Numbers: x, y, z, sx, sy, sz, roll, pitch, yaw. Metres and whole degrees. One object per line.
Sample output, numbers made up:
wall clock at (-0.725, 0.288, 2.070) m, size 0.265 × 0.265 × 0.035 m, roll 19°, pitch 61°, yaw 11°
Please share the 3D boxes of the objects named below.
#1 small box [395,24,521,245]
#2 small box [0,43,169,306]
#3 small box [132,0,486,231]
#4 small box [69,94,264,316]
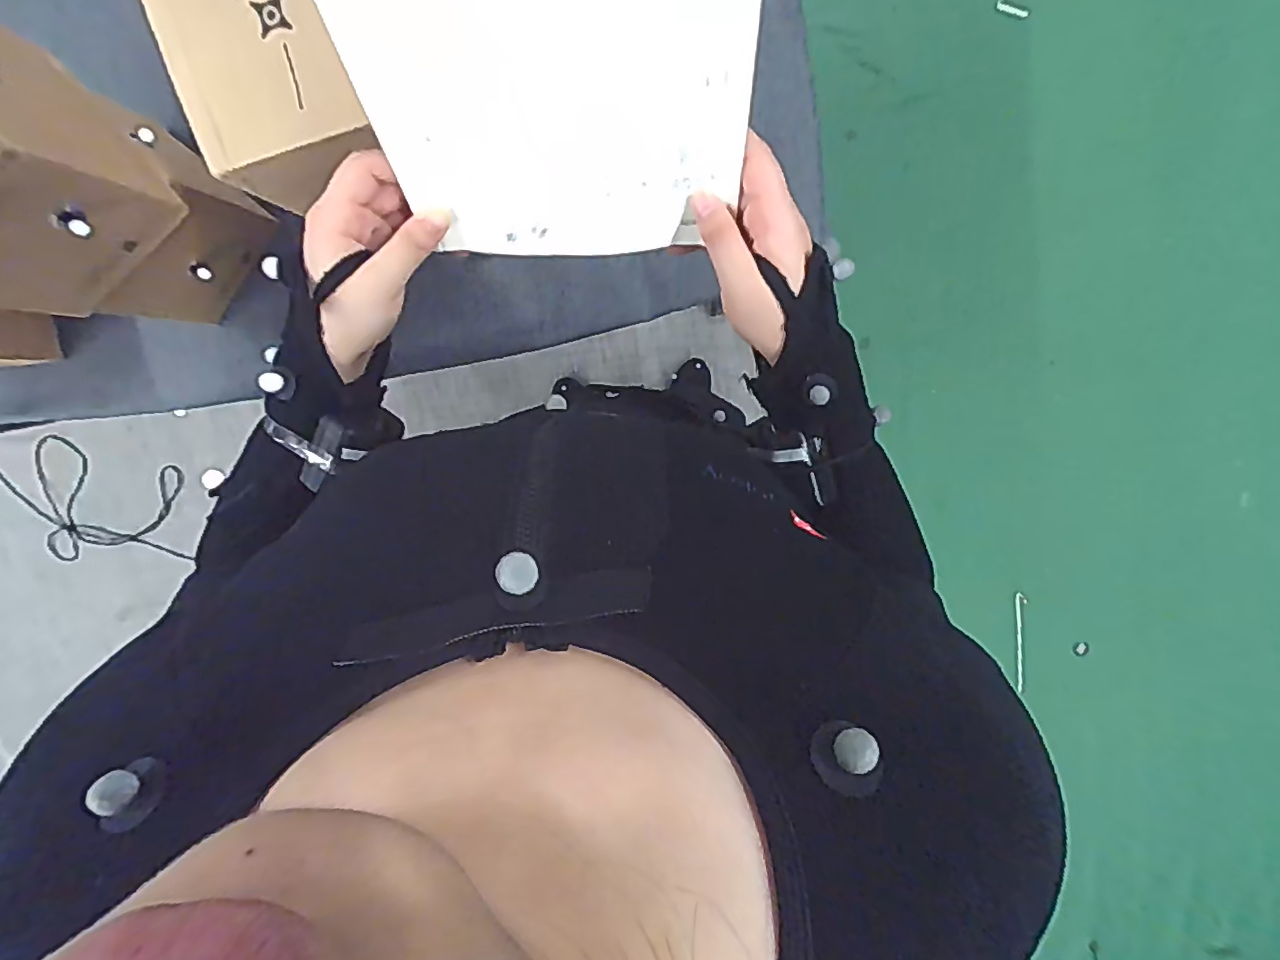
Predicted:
small box at (-0.246, -0.374, 0.587) m, size 0.179 × 0.176 × 0.168 m, roll 19°, pitch 101°, yaw -2°
small box at (-0.565, -0.264, 0.448) m, size 0.168 × 0.176 × 0.179 m, roll -38°, pitch 98°, yaw 7°
small box at (-0.244, -0.326, 0.429) m, size 0.168 × 0.176 × 0.179 m, roll -14°, pitch 101°, yaw 4°
small box at (-0.581, -0.302, 0.606) m, size 0.179 × 0.176 × 0.168 m, roll 39°, pitch 99°, yaw -7°
